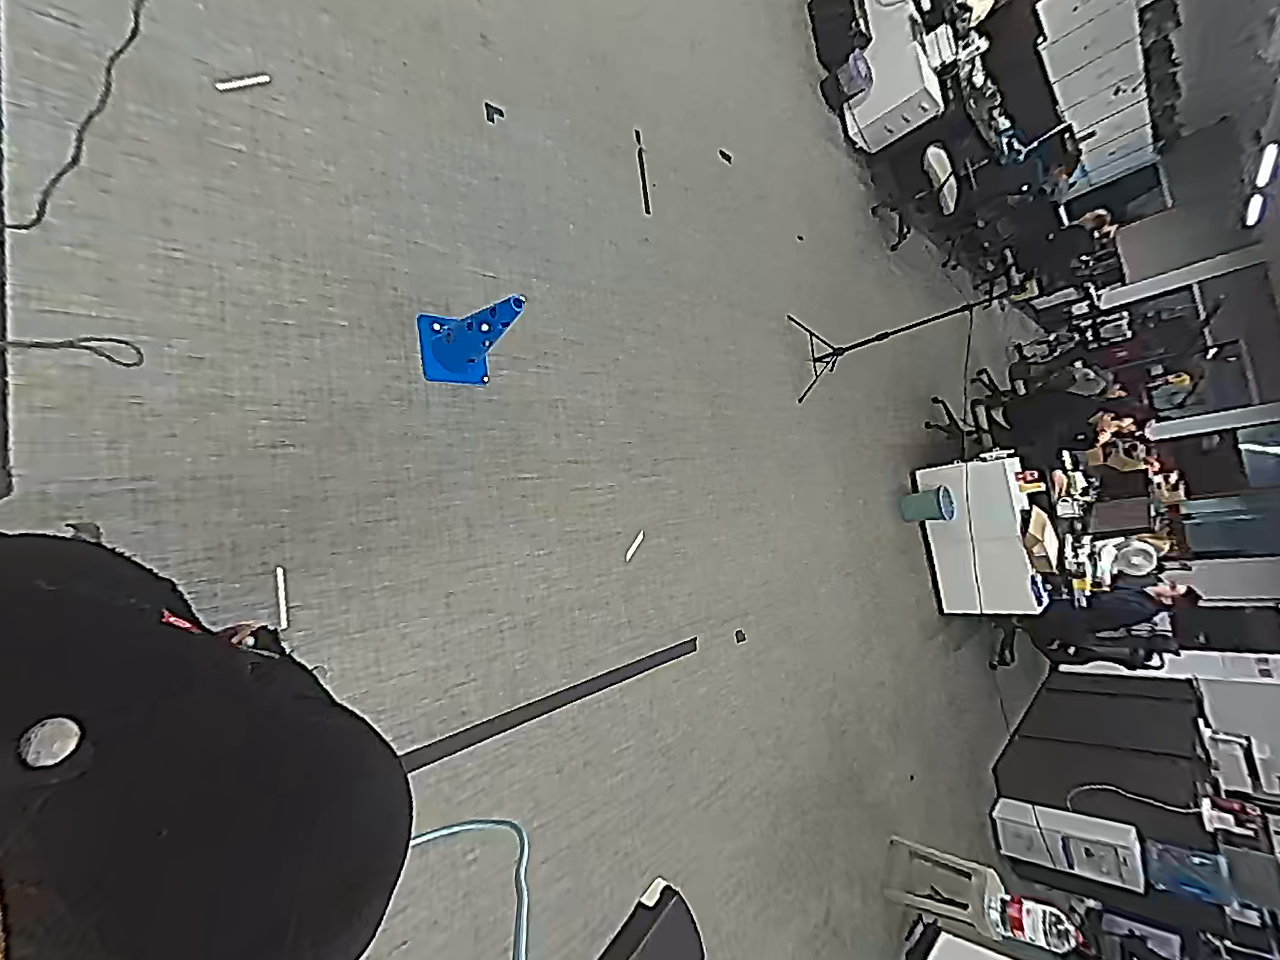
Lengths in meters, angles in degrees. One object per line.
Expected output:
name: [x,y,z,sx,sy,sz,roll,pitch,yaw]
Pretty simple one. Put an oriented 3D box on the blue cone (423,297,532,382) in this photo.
blue cone: [-0.421,-0.407,1.461,0.192,0.380,0.193,-2,82,-46]
